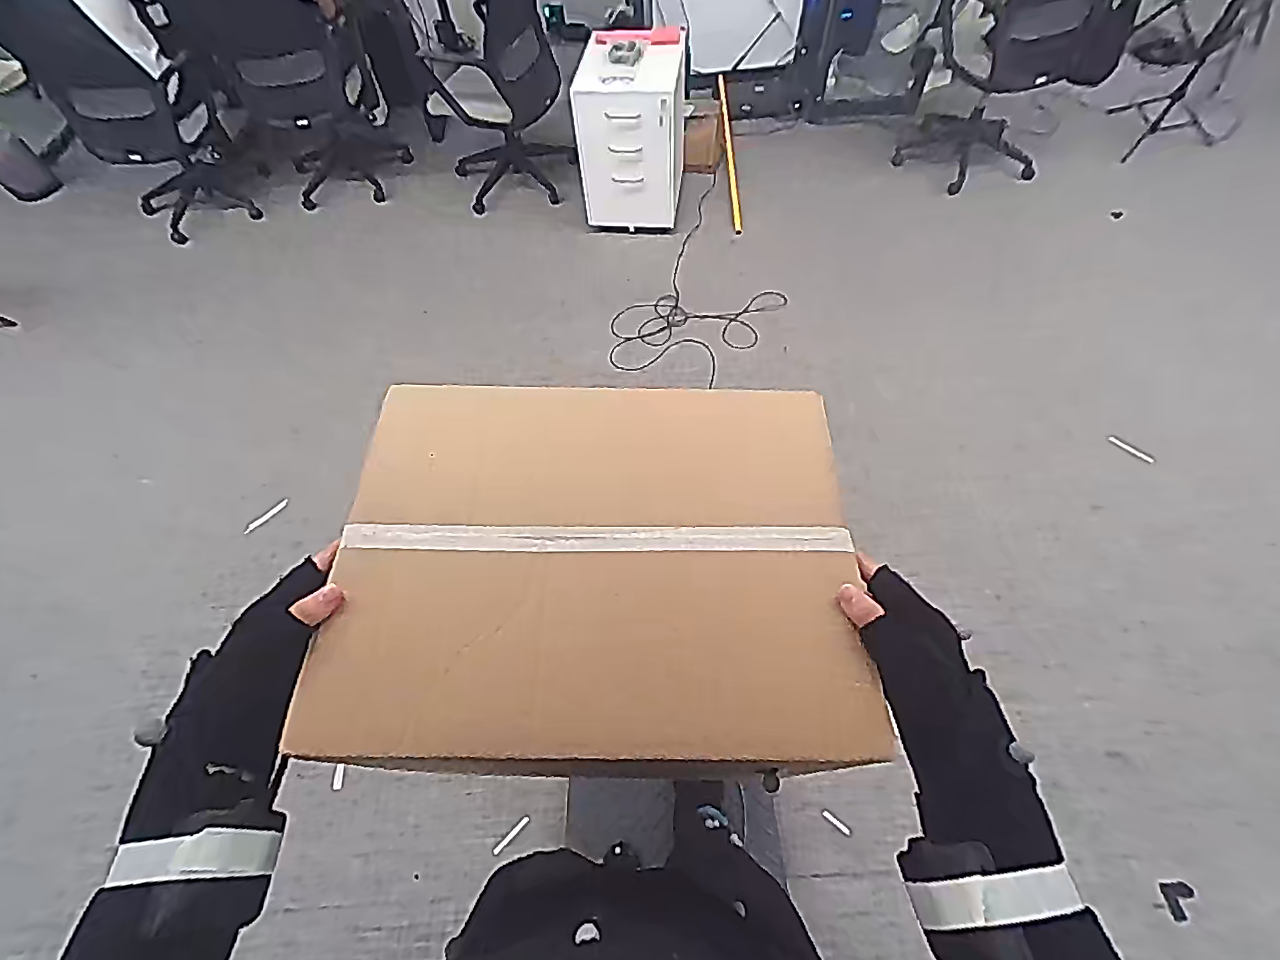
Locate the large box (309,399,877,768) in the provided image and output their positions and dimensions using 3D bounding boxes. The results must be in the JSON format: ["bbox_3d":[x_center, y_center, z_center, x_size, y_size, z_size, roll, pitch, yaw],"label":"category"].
[{"bbox_3d":[-0.032,0.129,0.576,0.408,0.320,0.320,0,59,0],"label":"large box"}]
